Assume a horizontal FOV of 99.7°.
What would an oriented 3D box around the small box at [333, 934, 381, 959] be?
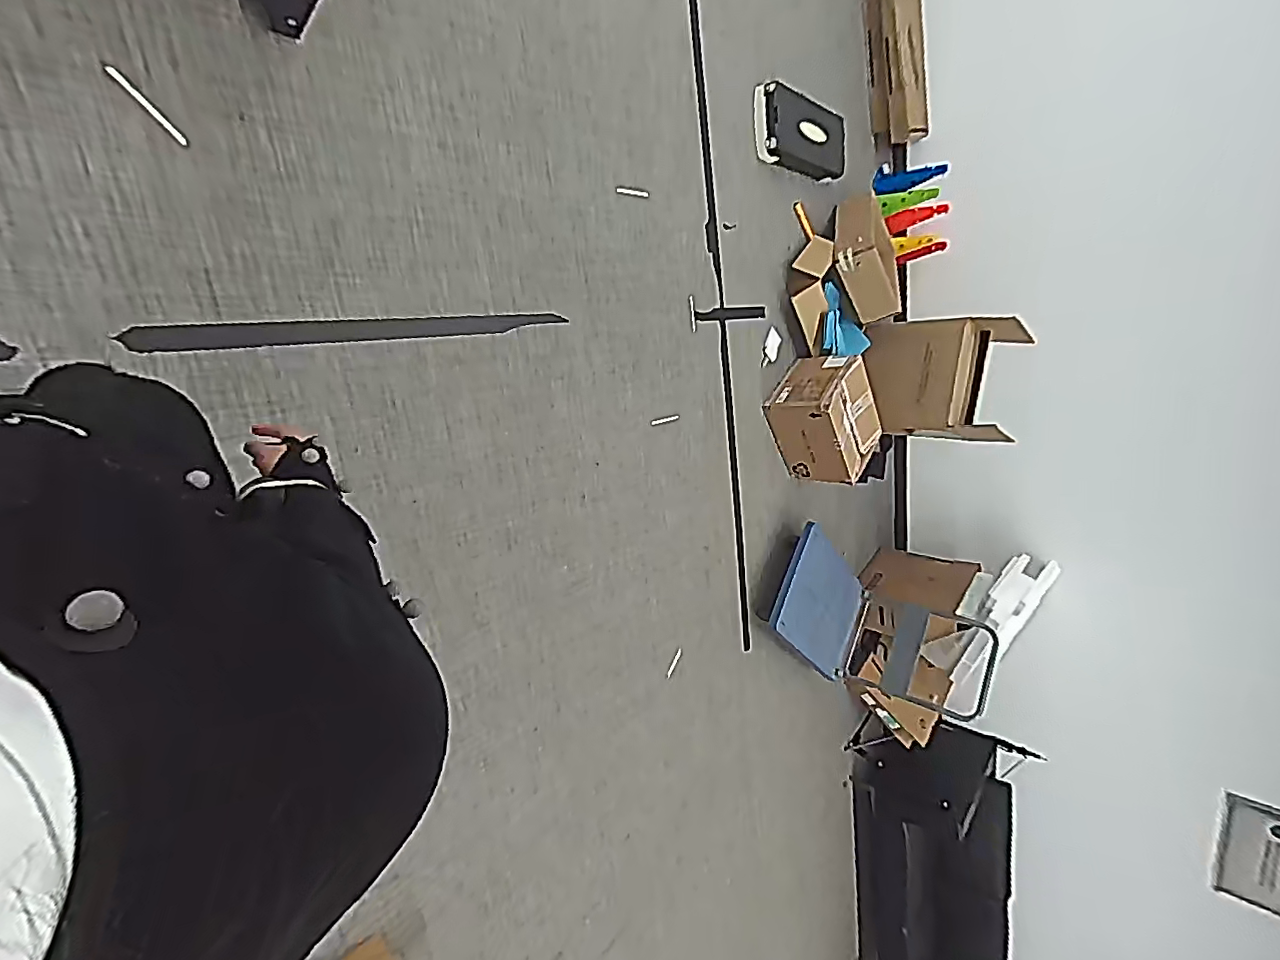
[{"bbox_3d":[-0.718,1.313,1.346,0.179,0.176,0.168,-19,108,-43],"label":"small box"}]
